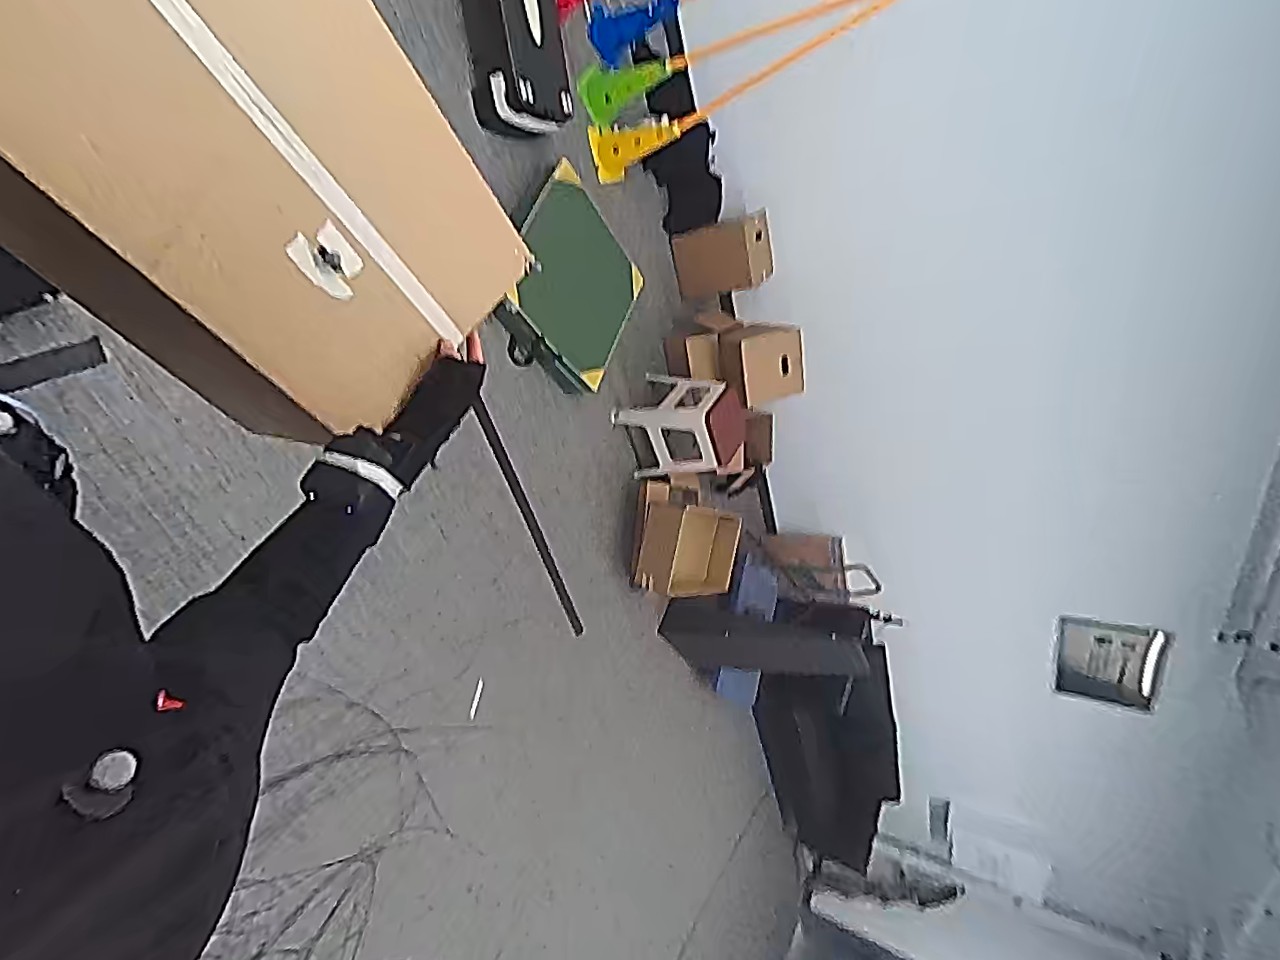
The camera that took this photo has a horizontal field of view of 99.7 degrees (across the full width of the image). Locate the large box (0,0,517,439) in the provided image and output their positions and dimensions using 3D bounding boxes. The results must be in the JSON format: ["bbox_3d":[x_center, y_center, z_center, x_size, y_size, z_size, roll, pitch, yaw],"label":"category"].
[{"bbox_3d":[-0.418,-0.292,0.555,0.320,0.320,0.408,-60,138,-25],"label":"large box"}]
